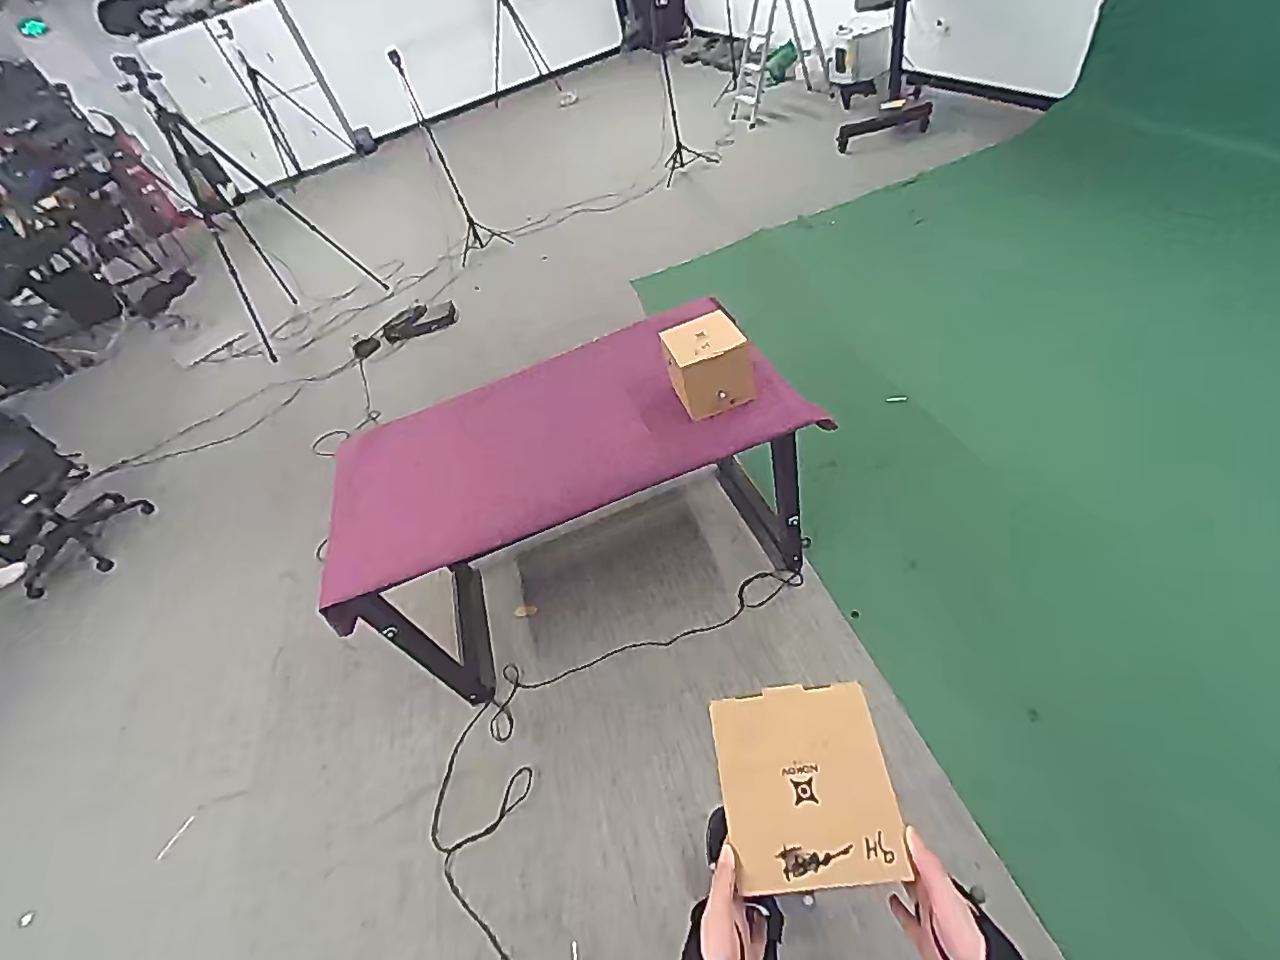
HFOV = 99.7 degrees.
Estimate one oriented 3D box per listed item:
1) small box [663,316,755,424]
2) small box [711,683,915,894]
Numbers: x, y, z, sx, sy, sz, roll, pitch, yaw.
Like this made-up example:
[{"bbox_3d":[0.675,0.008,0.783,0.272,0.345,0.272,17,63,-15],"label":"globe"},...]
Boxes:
[{"bbox_3d":[0.170,-0.268,1.327,0.168,0.176,0.179,-21,44,0],"label":"small box"},{"bbox_3d":[0.178,0.346,0.607,0.168,0.176,0.179,-11,55,8],"label":"small box"}]
